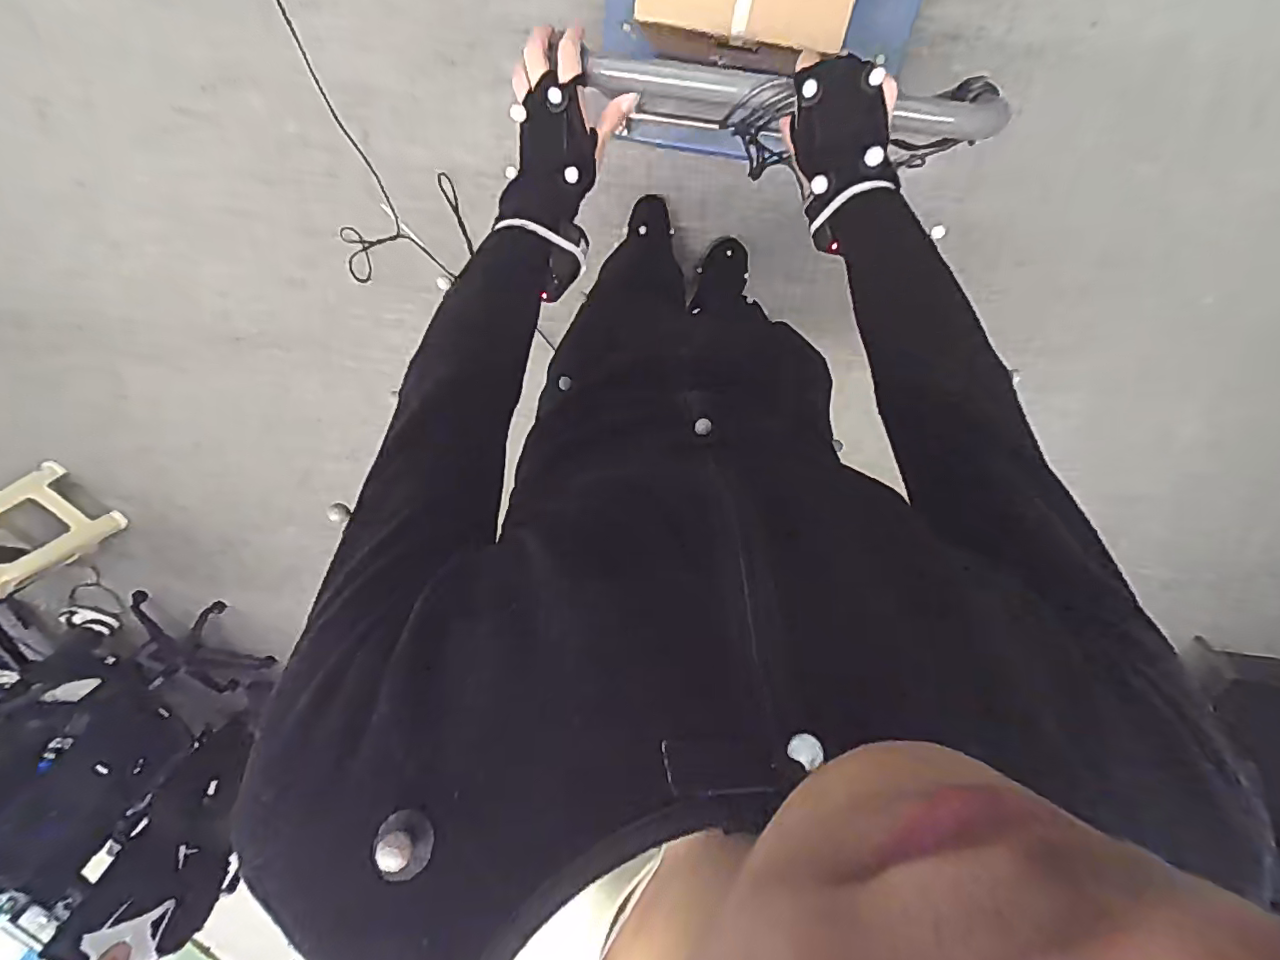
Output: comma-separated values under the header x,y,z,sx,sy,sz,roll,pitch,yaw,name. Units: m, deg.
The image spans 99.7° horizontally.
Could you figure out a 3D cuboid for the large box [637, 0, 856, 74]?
x,y,z,sx,sy,sz,roll,pitch,yaw,name
0.192,-0.896,0.813,0.320,0.320,0.408,12,122,1,large box
